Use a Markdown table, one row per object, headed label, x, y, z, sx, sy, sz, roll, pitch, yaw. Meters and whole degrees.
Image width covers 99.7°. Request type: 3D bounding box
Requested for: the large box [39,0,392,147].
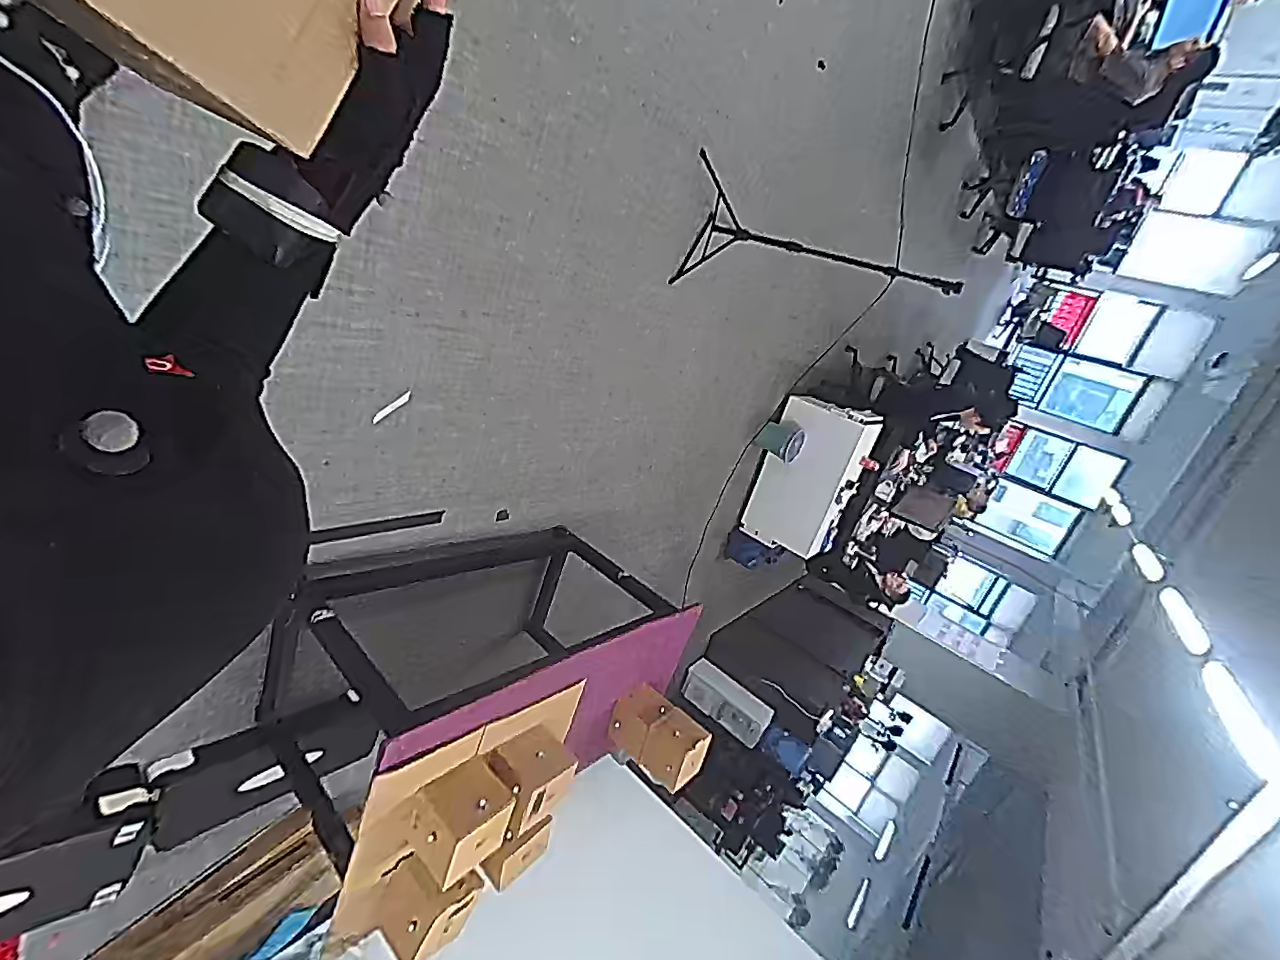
| label | x | y | z | sx | sy | sz | roll | pitch | yaw |
| --- | --- | --- | --- | --- | --- | --- | --- | --- | --- |
| large box | -0.348 | -0.466 | 0.261 | 0.320 | 0.320 | 0.408 | -58 | 152 | 5 |
